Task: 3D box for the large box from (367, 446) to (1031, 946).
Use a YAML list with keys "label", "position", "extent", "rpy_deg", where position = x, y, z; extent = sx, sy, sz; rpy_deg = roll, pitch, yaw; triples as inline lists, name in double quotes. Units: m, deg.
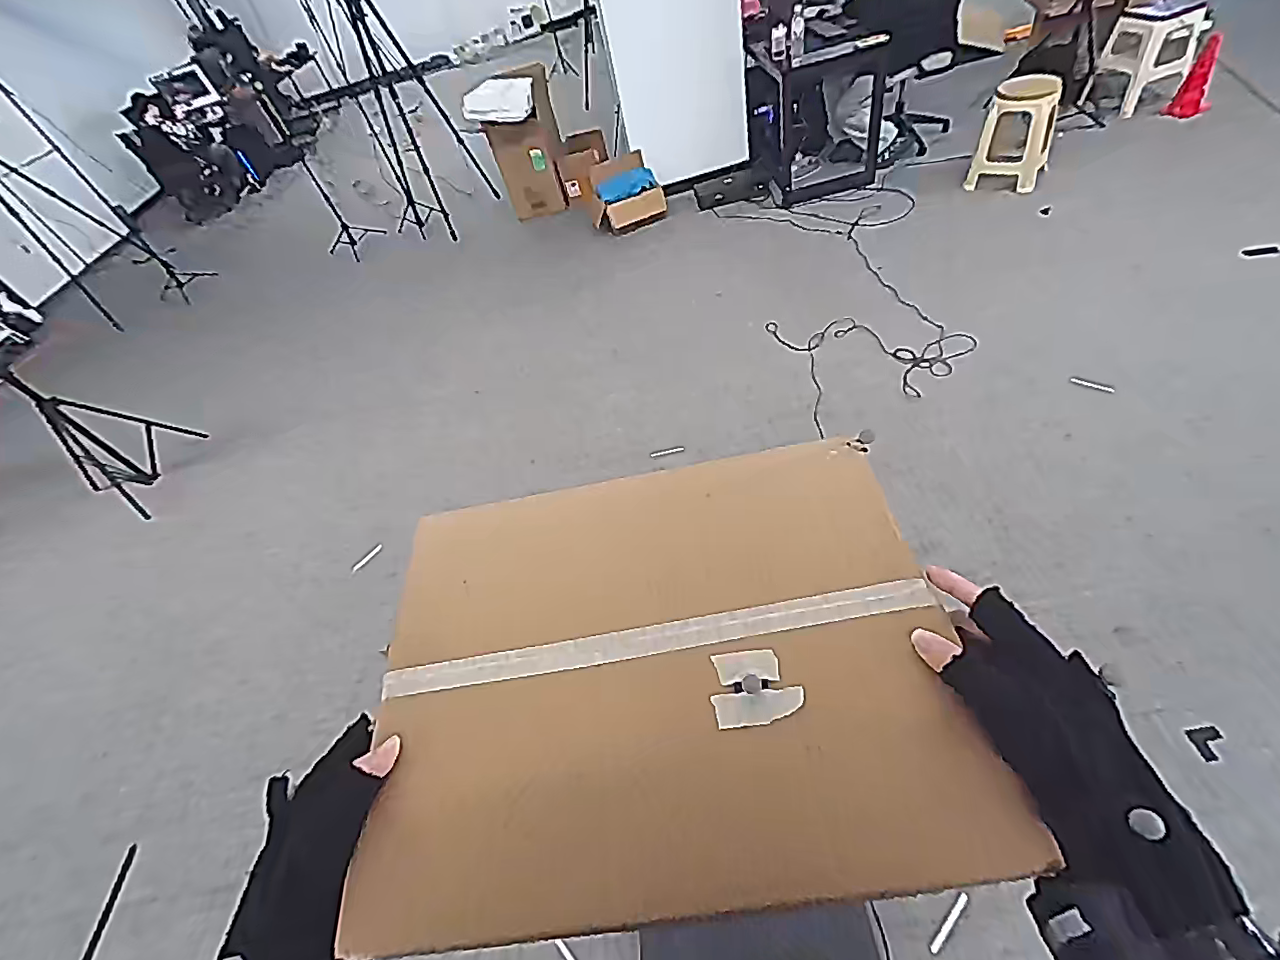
- label: "large box"
  position: [0.036, 0.215, 0.521]
  extent: [0.408, 0.320, 0.320]
  rpy_deg: [-11, 51, 4]
